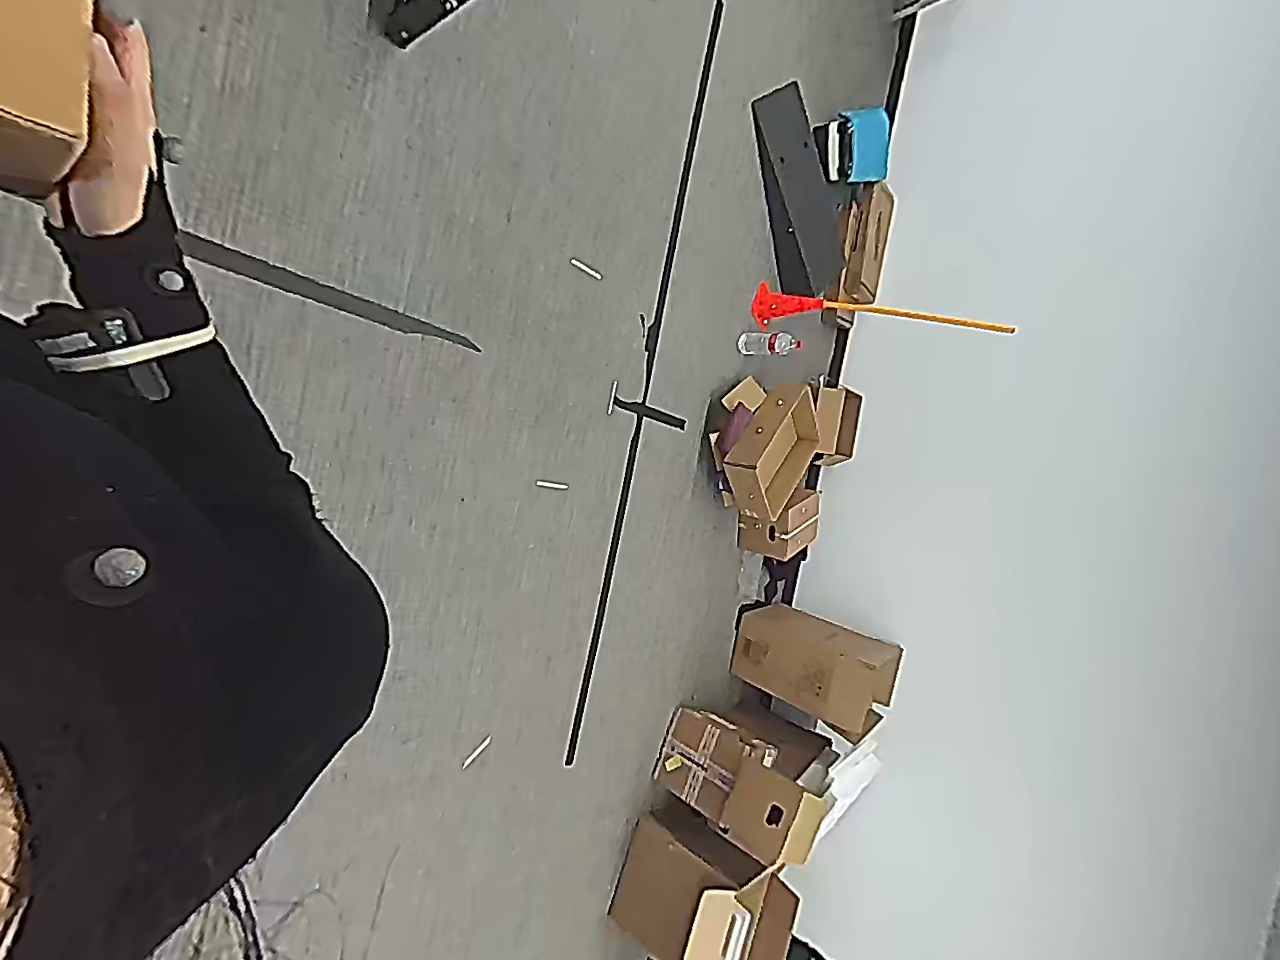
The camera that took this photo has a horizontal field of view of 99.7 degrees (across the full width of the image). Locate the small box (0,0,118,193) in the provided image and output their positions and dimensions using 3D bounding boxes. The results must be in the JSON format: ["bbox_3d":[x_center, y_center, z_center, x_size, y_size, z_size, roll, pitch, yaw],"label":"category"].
[{"bbox_3d":[-0.340,-0.249,0.221,0.168,0.176,0.179,2,98,-52],"label":"small box"}]
